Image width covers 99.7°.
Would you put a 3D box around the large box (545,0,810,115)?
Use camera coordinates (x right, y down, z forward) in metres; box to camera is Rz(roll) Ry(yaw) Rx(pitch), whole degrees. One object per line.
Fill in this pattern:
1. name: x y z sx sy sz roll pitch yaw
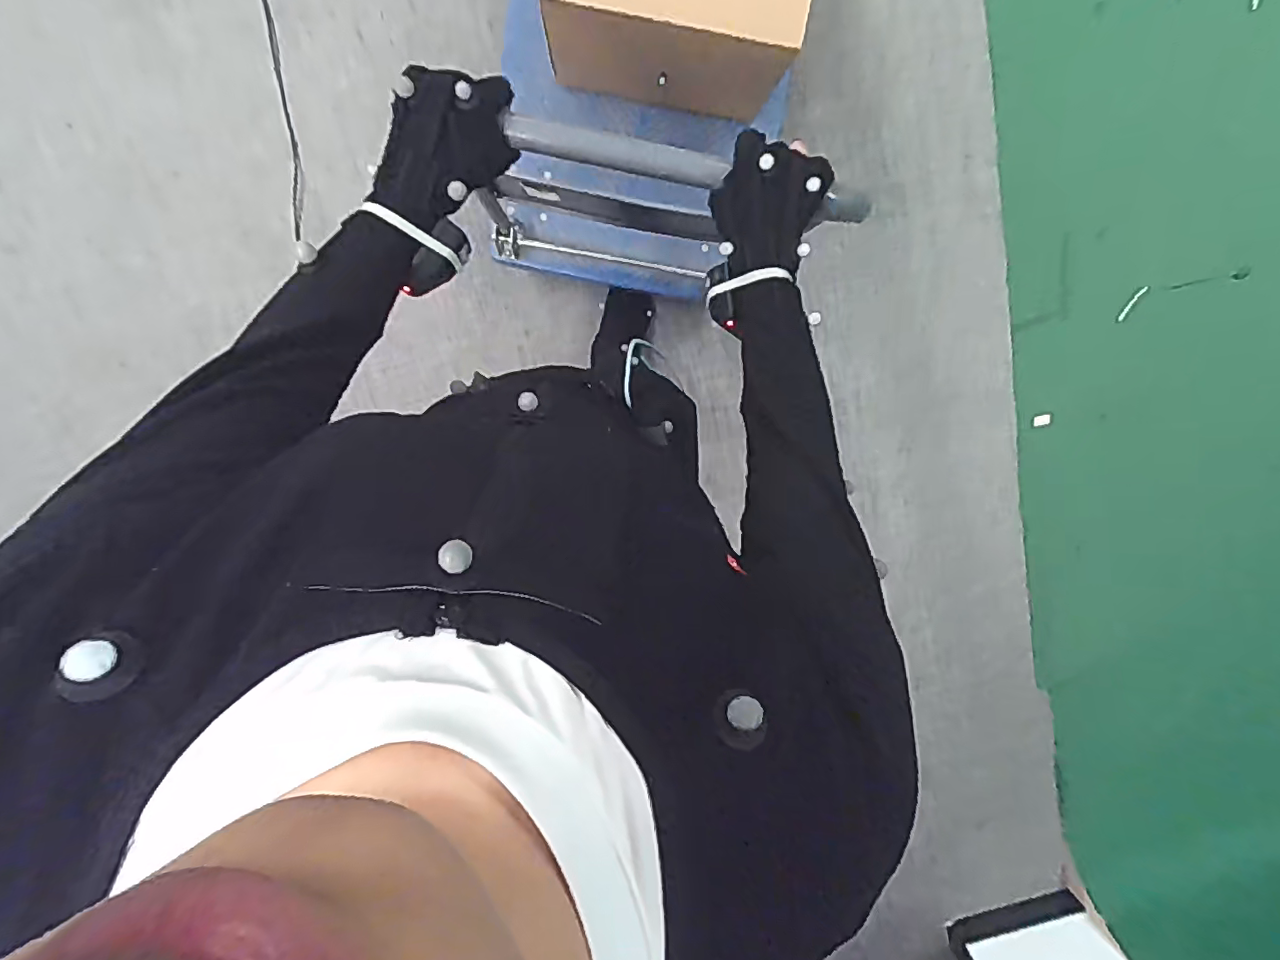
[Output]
1. large box: 0.068 -0.877 0.925 0.408 0.320 0.320 7 105 -5
